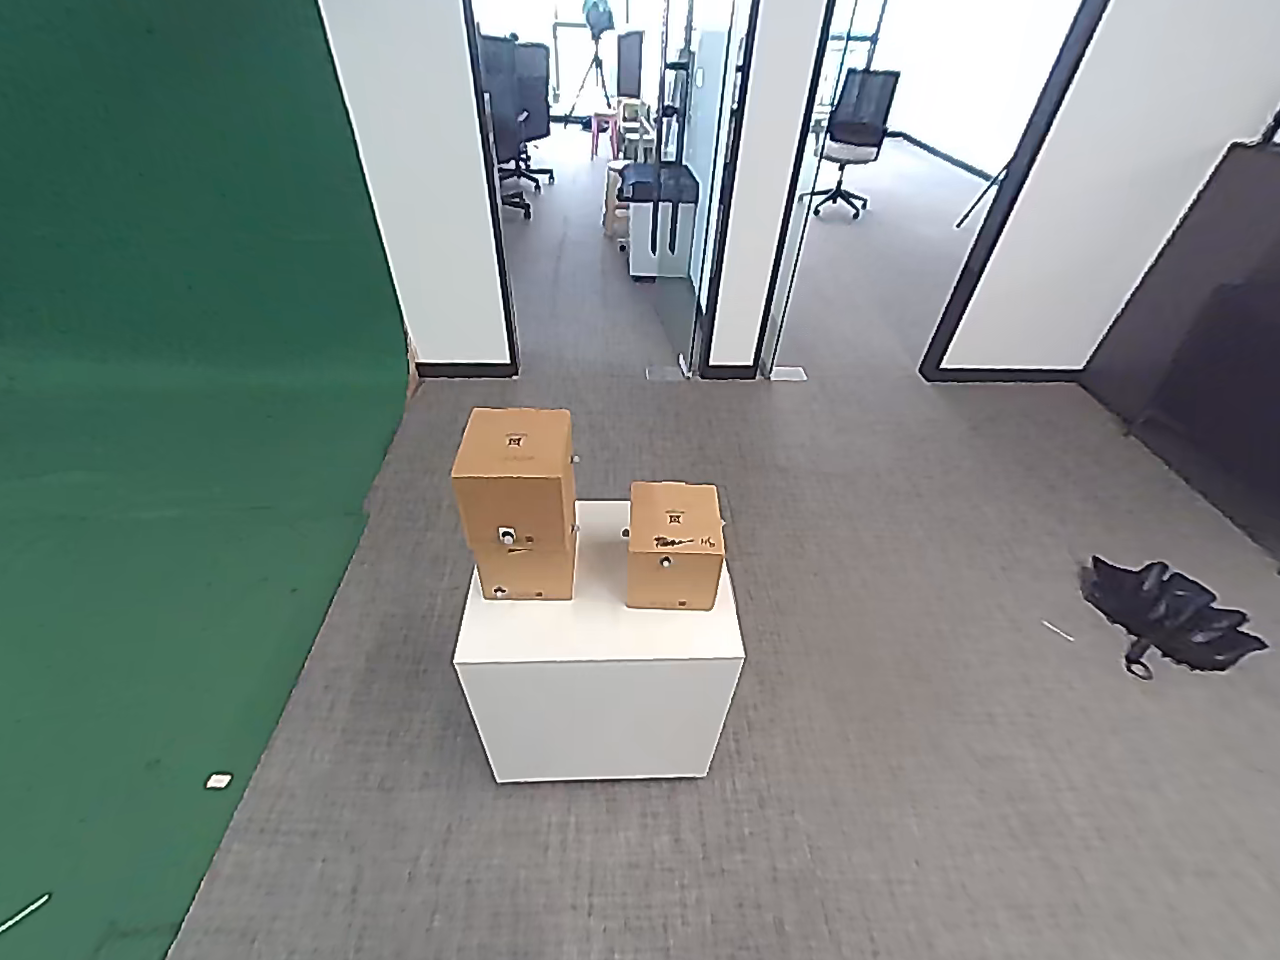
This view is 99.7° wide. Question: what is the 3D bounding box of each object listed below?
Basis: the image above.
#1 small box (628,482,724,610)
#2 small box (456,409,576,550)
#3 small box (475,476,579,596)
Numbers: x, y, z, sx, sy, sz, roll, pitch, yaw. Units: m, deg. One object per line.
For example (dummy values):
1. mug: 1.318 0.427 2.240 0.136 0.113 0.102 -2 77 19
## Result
1. small box: 0.063 0.124 1.034 0.168 0.176 0.179 2 41 0
2. small box: -0.198 -0.002 0.917 0.168 0.176 0.179 0 43 -3
3. small box: -0.205 0.107 1.038 0.168 0.176 0.179 1 41 -3
